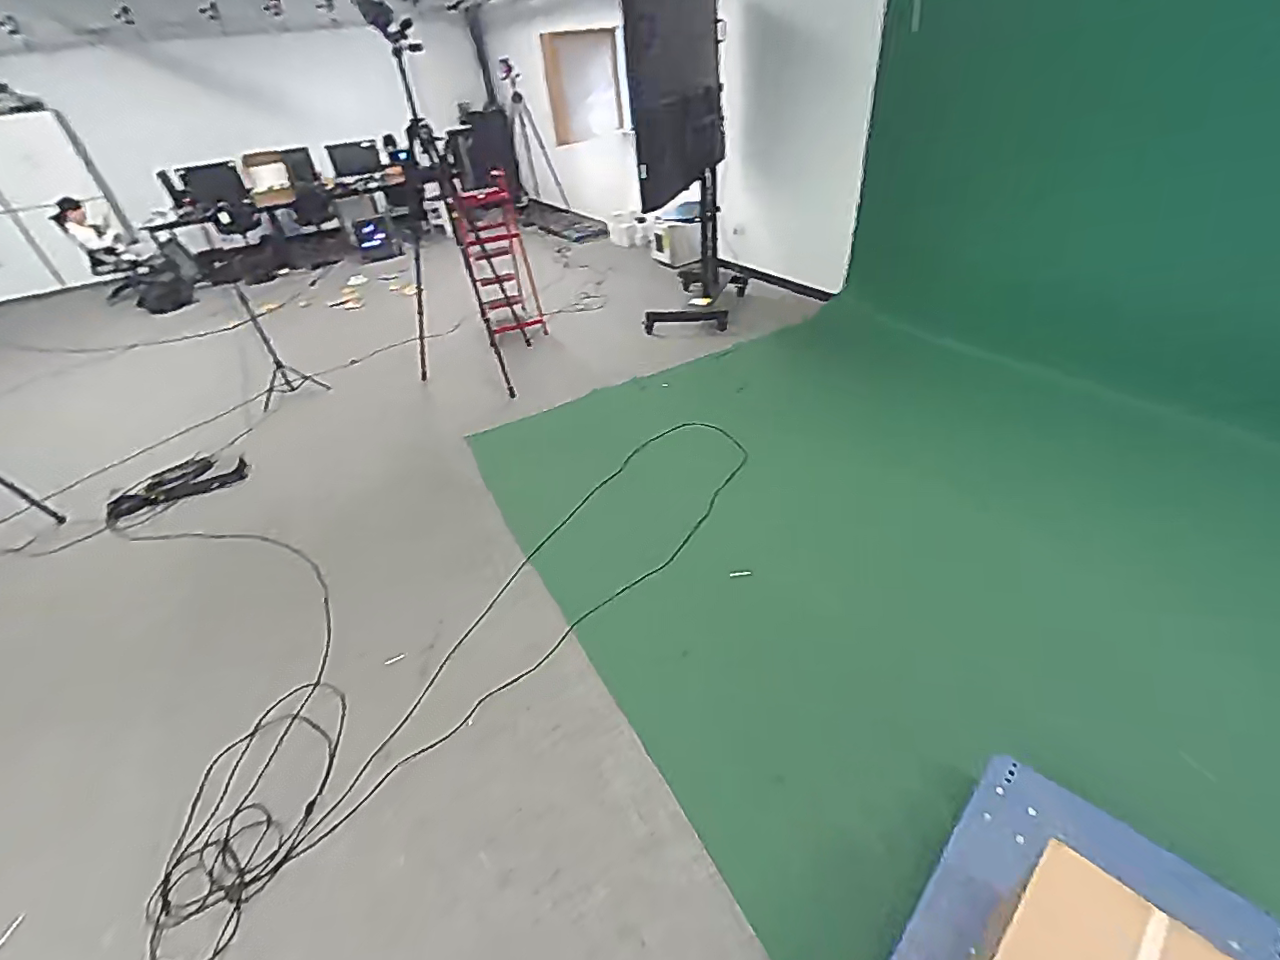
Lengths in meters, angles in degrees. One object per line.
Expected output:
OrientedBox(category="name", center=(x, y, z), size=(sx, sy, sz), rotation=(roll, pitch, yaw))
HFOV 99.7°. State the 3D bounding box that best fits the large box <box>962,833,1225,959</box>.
OrientedBox(category="large box", center=(0.715, 0.921, 0.893), size=(0.408, 0.320, 0.320), rotation=(-31, 43, -30))
